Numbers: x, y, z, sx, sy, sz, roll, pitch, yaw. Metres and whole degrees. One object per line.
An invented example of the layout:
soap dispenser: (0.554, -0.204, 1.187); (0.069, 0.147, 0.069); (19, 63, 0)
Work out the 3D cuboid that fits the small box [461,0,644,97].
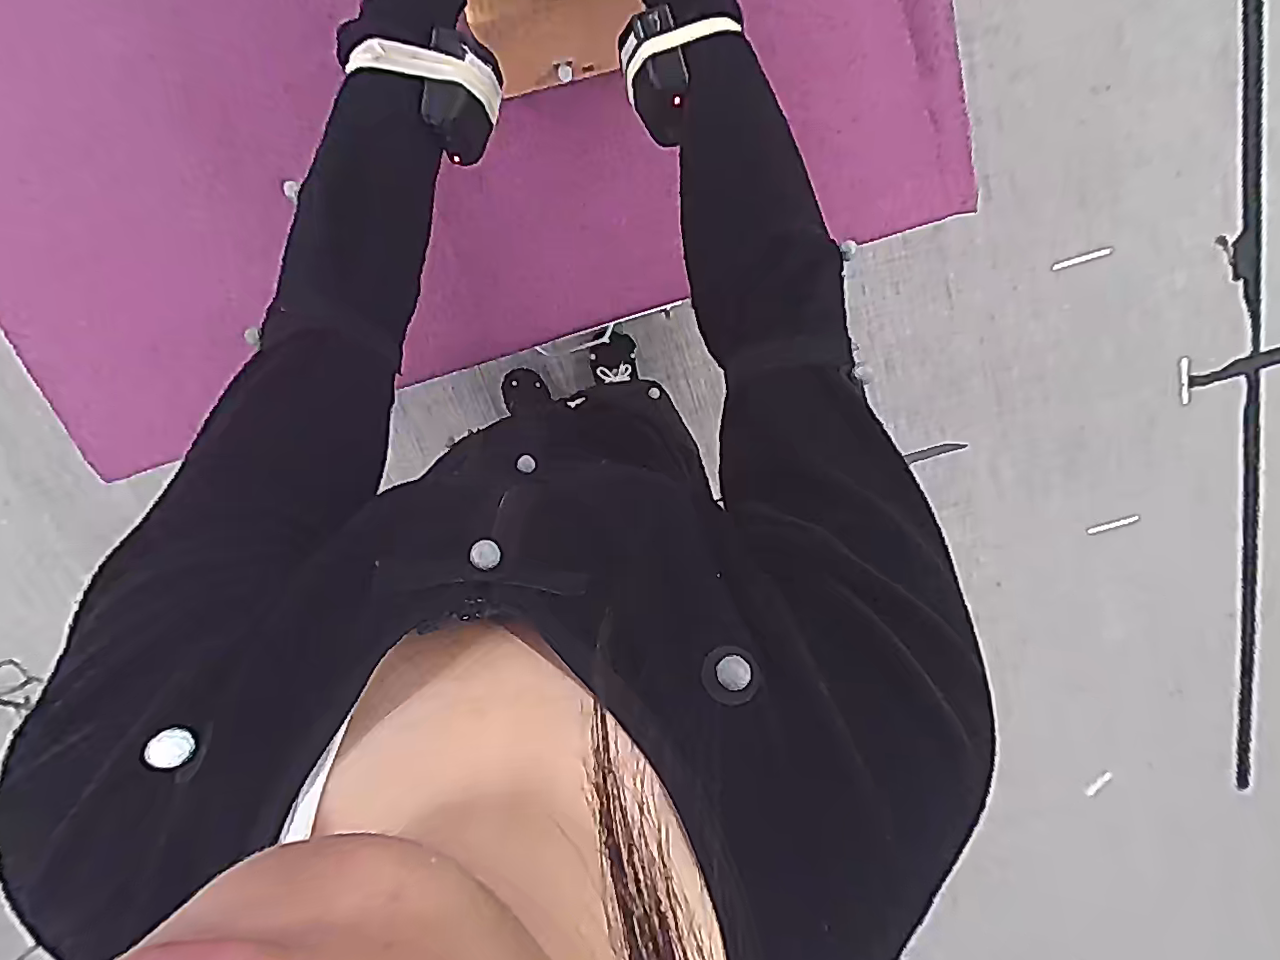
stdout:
small box: (-0.097, -0.521, 0.531); (0.168, 0.176, 0.179); (-13, 107, 1)
